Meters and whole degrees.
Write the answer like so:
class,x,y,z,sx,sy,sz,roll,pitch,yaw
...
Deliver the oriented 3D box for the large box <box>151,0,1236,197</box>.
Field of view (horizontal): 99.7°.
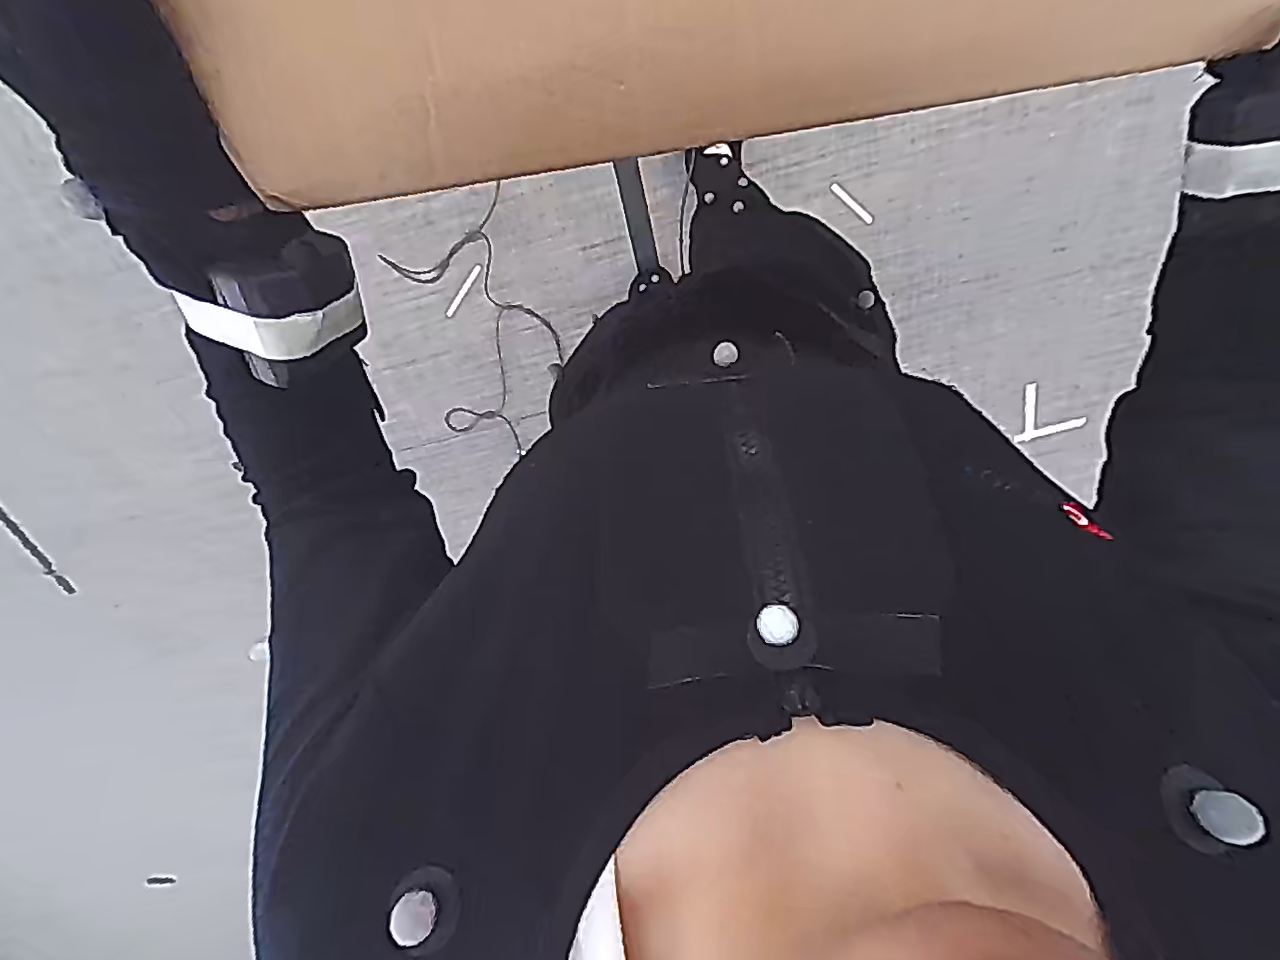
class,x,y,z,sx,sy,sz,roll,pitch,yaw
large box,0.007,-0.361,0.205,0.408,0.320,0.320,-7,140,4
